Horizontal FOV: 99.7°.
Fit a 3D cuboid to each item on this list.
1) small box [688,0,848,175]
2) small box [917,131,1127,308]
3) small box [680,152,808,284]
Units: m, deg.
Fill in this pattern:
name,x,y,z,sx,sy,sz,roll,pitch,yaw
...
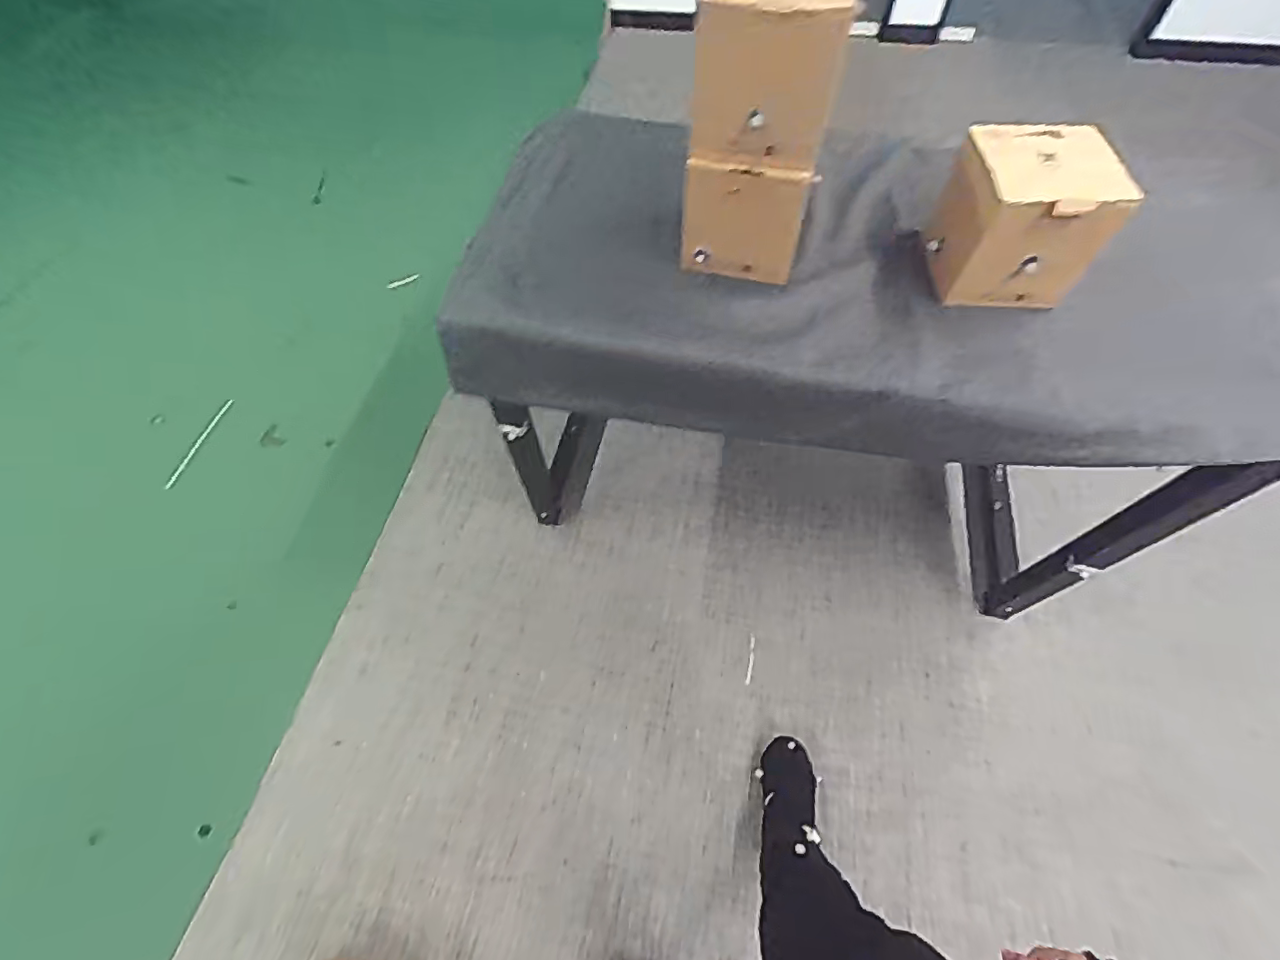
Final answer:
name,x,y,z,sx,sy,sz,roll,pitch,yaw
small box,0.157,-0.524,0.686,0.168,0.176,0.179,11,60,8
small box,0.525,-0.367,0.776,0.168,0.176,0.179,3,60,3
small box,0.159,-0.426,0.819,0.168,0.176,0.179,13,60,9
